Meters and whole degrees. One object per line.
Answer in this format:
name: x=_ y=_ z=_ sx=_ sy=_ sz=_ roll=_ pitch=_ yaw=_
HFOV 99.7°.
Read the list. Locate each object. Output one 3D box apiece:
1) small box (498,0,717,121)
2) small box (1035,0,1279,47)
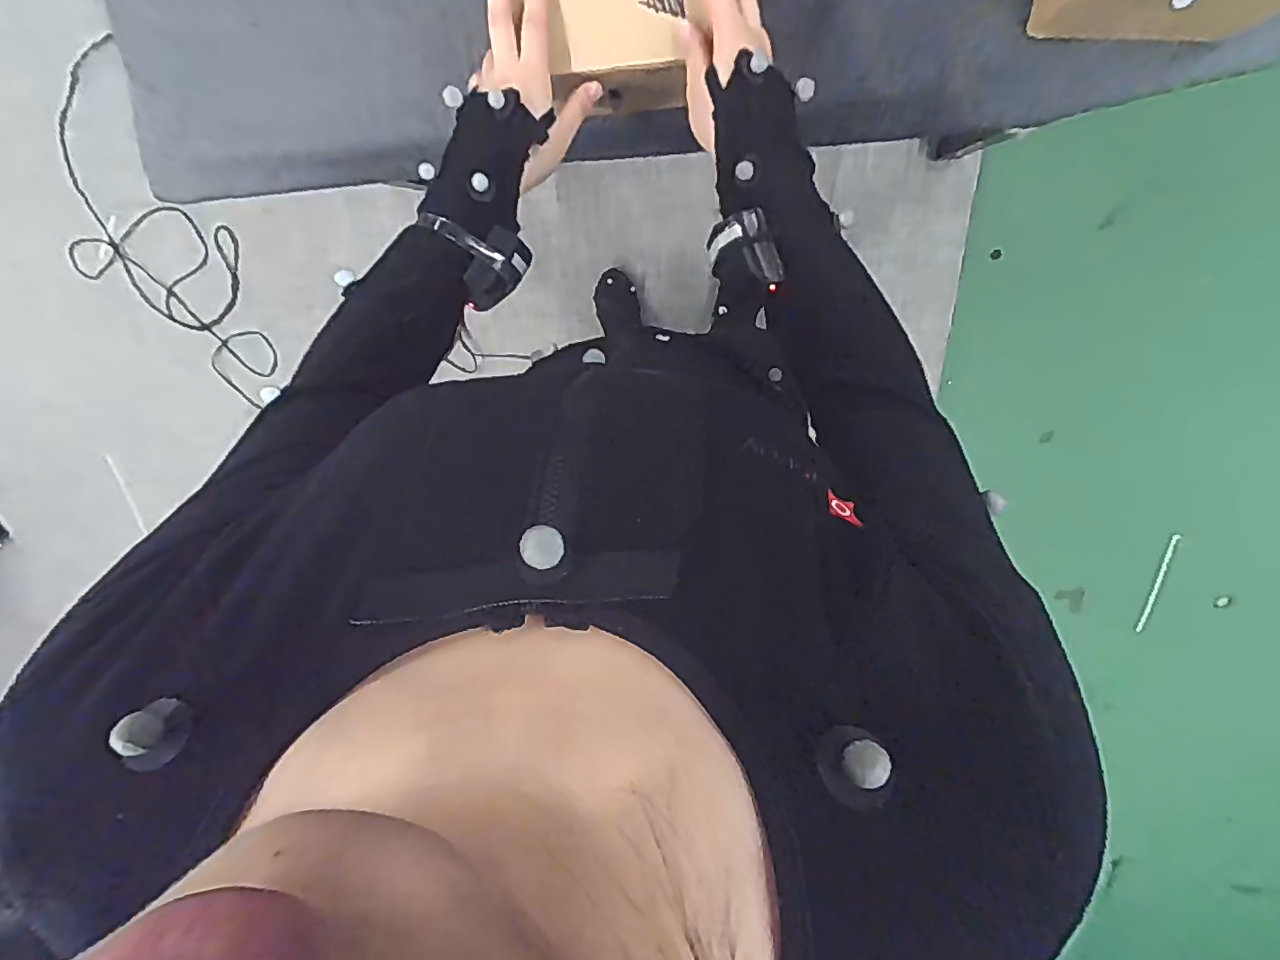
small box: x=-0.019 y=-0.437 z=0.483 sx=0.179 sy=0.176 sz=0.168 roll=1 pitch=115 yaw=9
small box: x=0.449 y=-0.457 z=0.407 sx=0.179 sy=0.176 sz=0.168 roll=6 pitch=111 yaw=6
